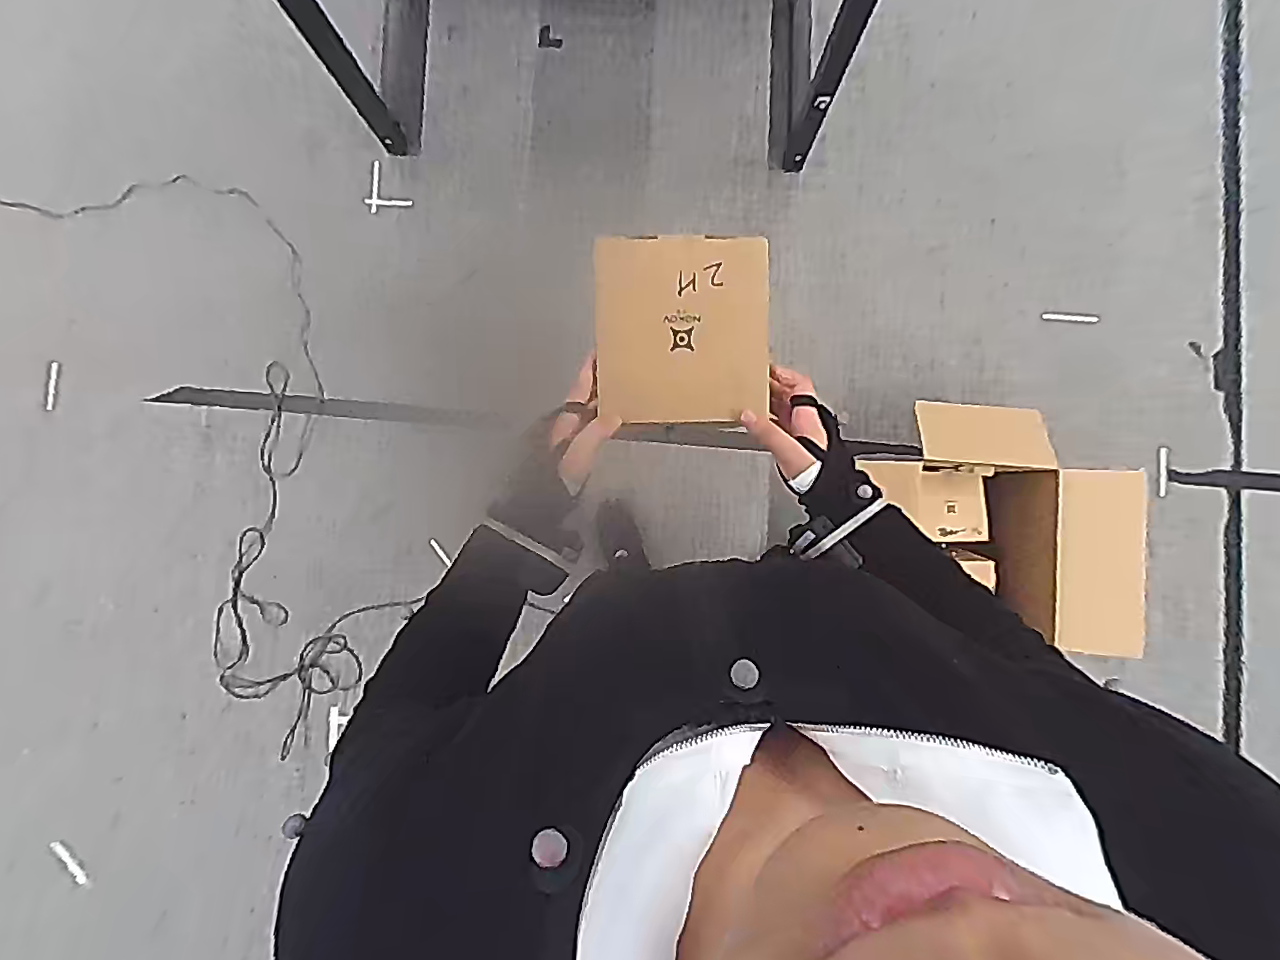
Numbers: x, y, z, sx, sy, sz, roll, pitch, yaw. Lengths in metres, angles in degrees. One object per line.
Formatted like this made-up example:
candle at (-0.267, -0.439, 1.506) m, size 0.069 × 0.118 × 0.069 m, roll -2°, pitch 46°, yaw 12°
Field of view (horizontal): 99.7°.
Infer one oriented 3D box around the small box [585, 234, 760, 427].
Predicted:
small box at (0.029, -0.146, 0.587) m, size 0.168 × 0.176 × 0.179 m, roll -1°, pitch 93°, yaw -3°
